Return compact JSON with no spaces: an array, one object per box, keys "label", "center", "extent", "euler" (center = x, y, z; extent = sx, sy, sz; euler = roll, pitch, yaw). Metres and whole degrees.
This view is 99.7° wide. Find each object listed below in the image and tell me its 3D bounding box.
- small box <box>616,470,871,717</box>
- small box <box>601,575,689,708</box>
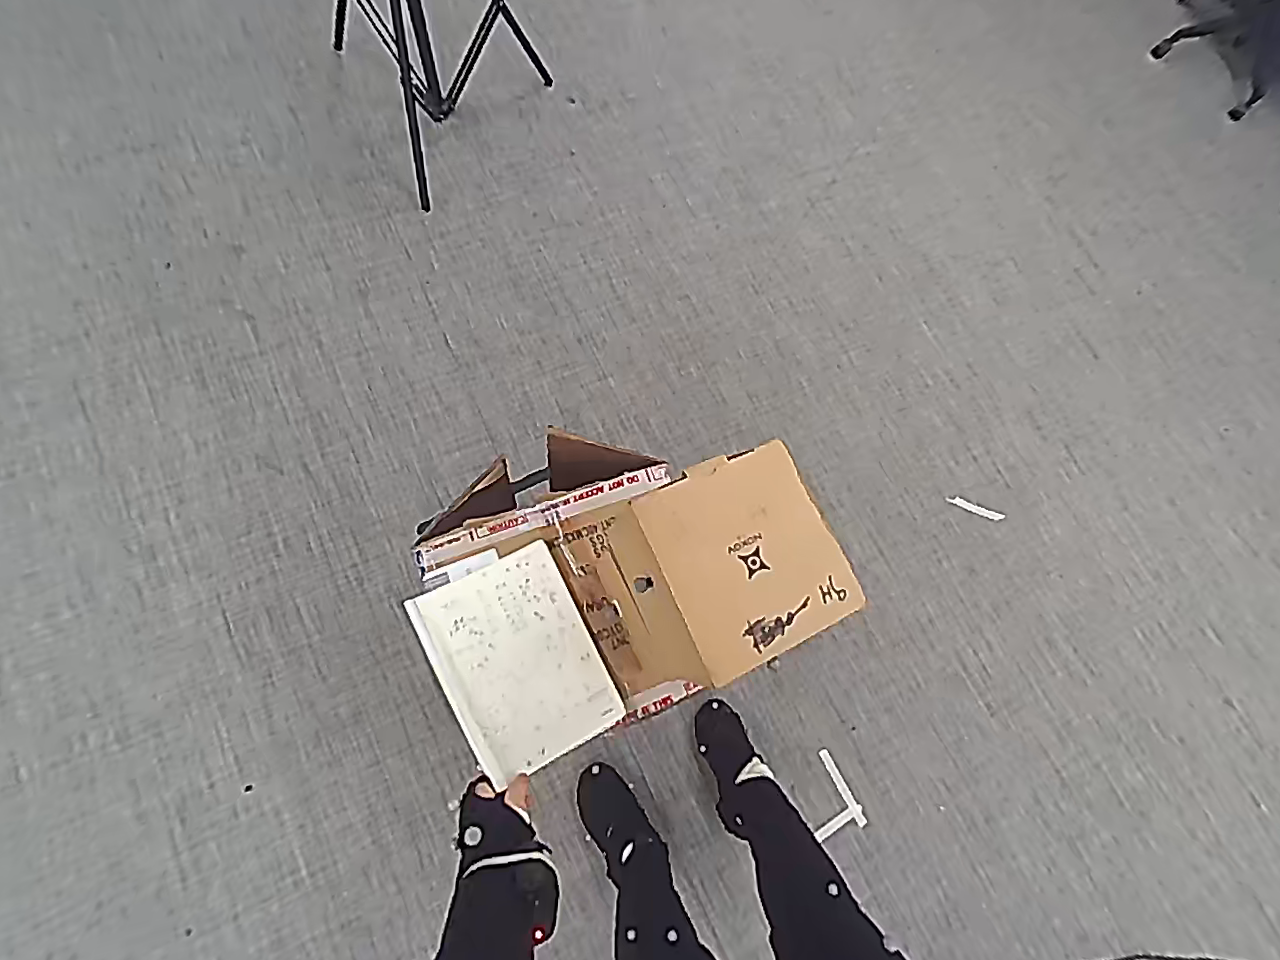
[{"label":"small box","center":[0.087,0.117,0.556],"extent":[0.168,0.176,0.179],"euler":[-22,78,-16]},{"label":"small box","center":[0.064,0.170,0.709],"extent":[0.179,0.176,0.168],"euler":[-25,79,-16]}]
